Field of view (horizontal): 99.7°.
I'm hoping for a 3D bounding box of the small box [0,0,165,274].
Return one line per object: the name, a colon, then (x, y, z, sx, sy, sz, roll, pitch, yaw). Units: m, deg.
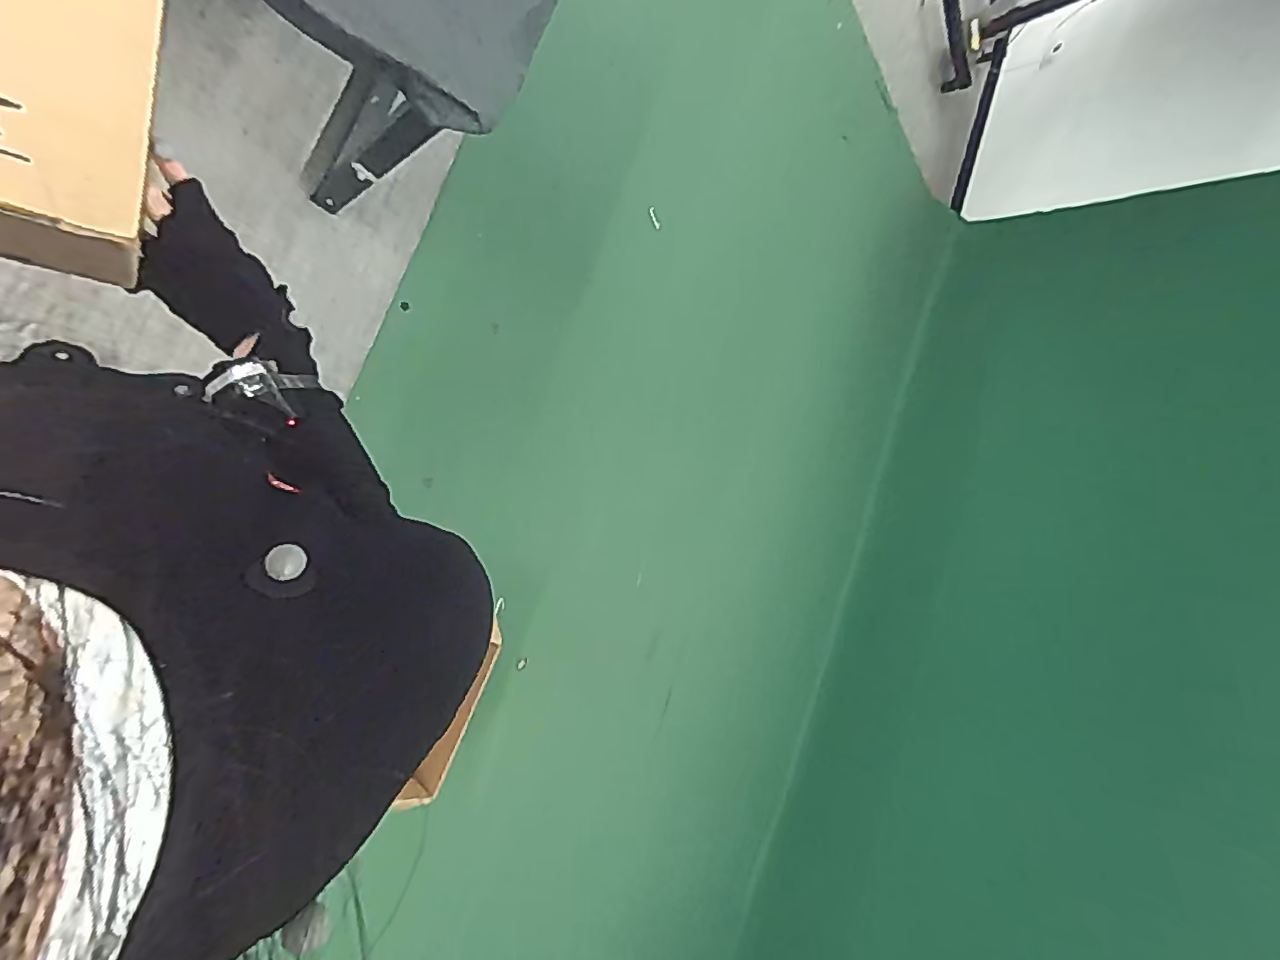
small box: (-0.403, -0.242, 0.323, 0.168, 0.176, 0.179, 6, 91, -45)
